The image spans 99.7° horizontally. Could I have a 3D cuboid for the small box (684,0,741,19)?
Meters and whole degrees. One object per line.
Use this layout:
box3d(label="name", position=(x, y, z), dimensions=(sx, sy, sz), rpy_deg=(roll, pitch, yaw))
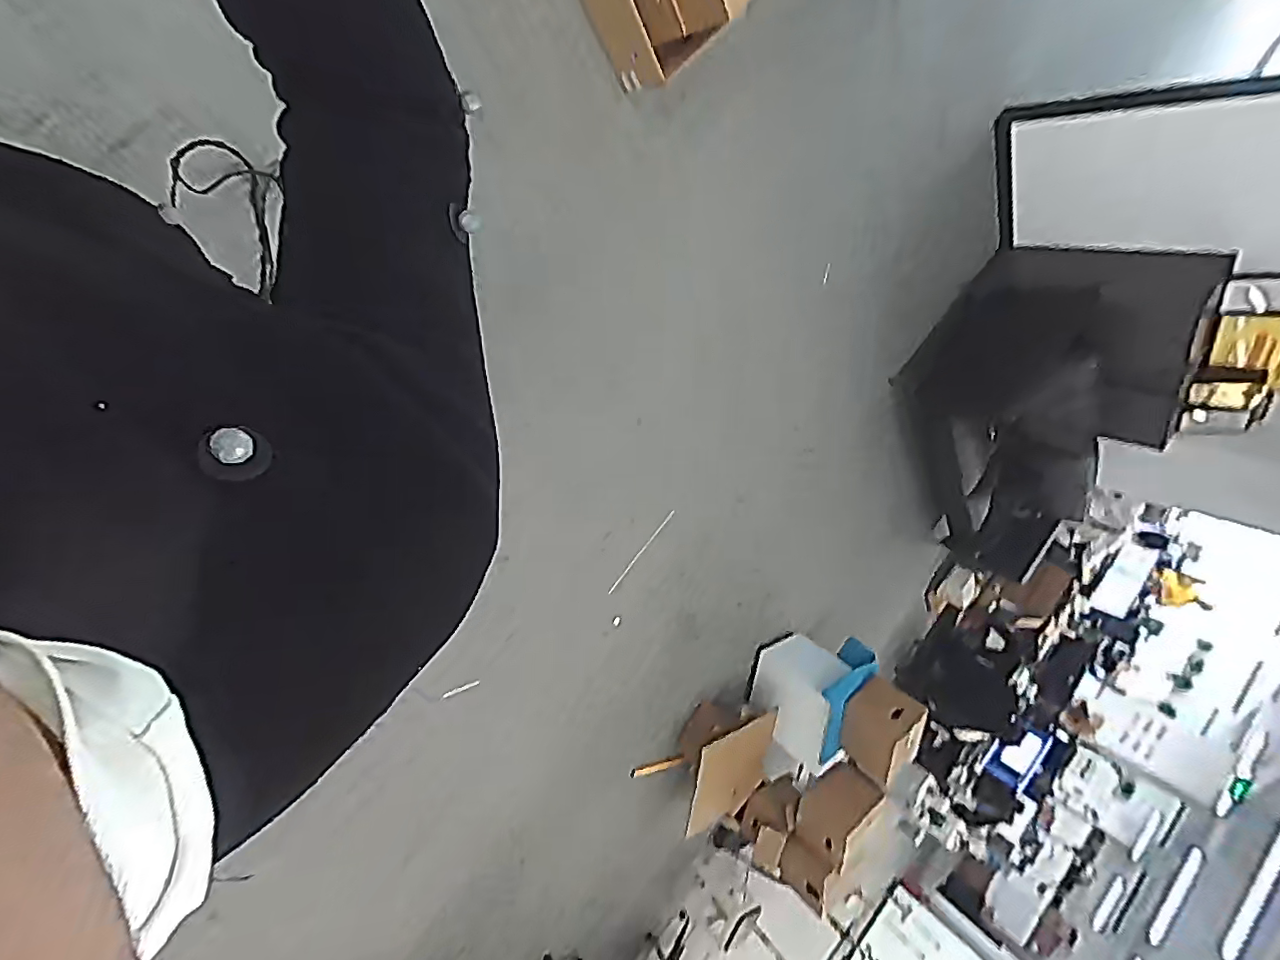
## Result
box3d(label="small box", position=(0.198, -1.313, 1.354), dimensions=(0.168, 0.176, 0.179), rpy_deg=(-49, 134, -8))
